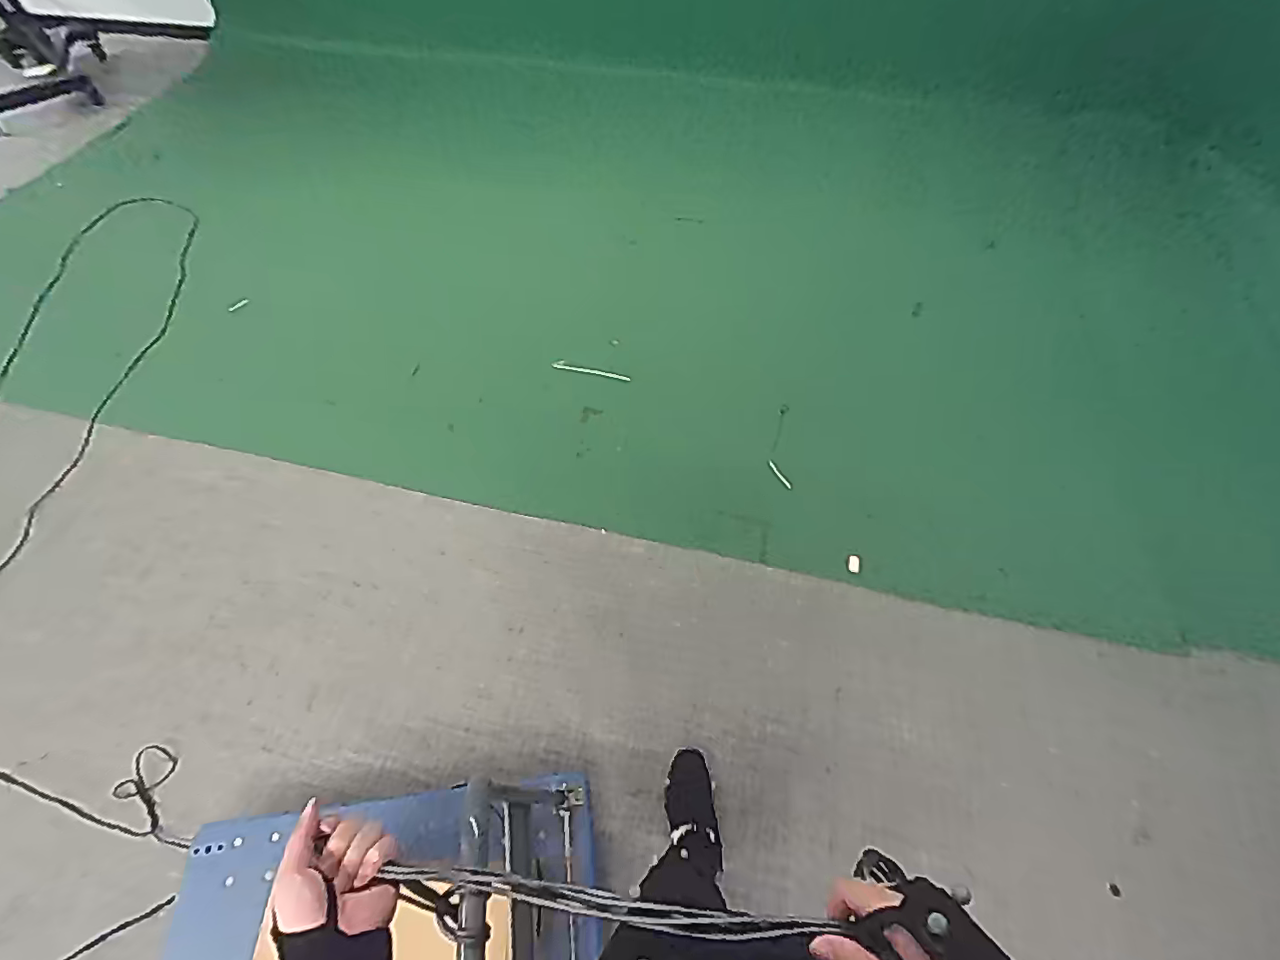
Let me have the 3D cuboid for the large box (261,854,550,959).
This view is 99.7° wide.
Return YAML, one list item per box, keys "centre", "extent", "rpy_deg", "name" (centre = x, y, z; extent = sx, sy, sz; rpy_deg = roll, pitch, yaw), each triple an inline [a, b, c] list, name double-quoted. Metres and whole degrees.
- centre: [-0.379, 0.858, 0.932]
  extent: [0.408, 0.320, 0.320]
  rpy_deg: [-3, 58, 0]
  name: "large box"
